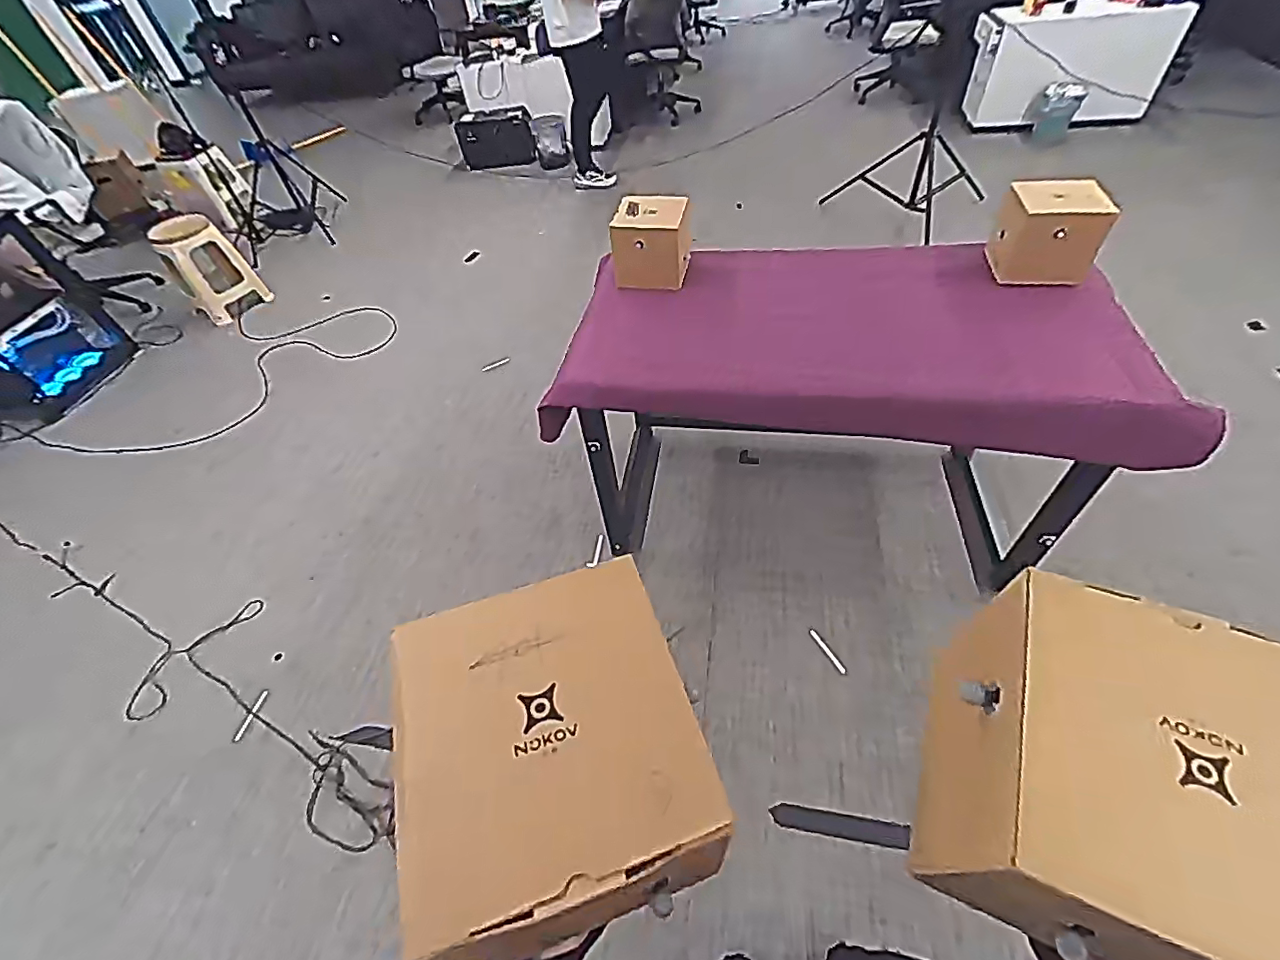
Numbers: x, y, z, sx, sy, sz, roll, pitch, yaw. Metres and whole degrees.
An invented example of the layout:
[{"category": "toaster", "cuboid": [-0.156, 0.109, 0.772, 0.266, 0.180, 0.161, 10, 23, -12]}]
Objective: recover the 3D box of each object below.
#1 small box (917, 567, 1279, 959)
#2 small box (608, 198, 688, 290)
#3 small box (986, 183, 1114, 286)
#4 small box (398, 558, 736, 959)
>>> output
[{"category": "small box", "cuboid": [0.292, 0.191, 0.338, 0.168, 0.176, 0.179, 18, 56, 18]}, {"category": "small box", "cuboid": [0.028, -0.616, 1.418, 0.179, 0.176, 0.168, 7, 52, 11]}, {"category": "small box", "cuboid": [0.936, -0.570, 1.261, 0.179, 0.176, 0.168, 5, 51, 11]}, {"category": "small box", "cuboid": [-0.049, 0.188, 0.369, 0.168, 0.176, 0.179, -16, 48, -12]}]
